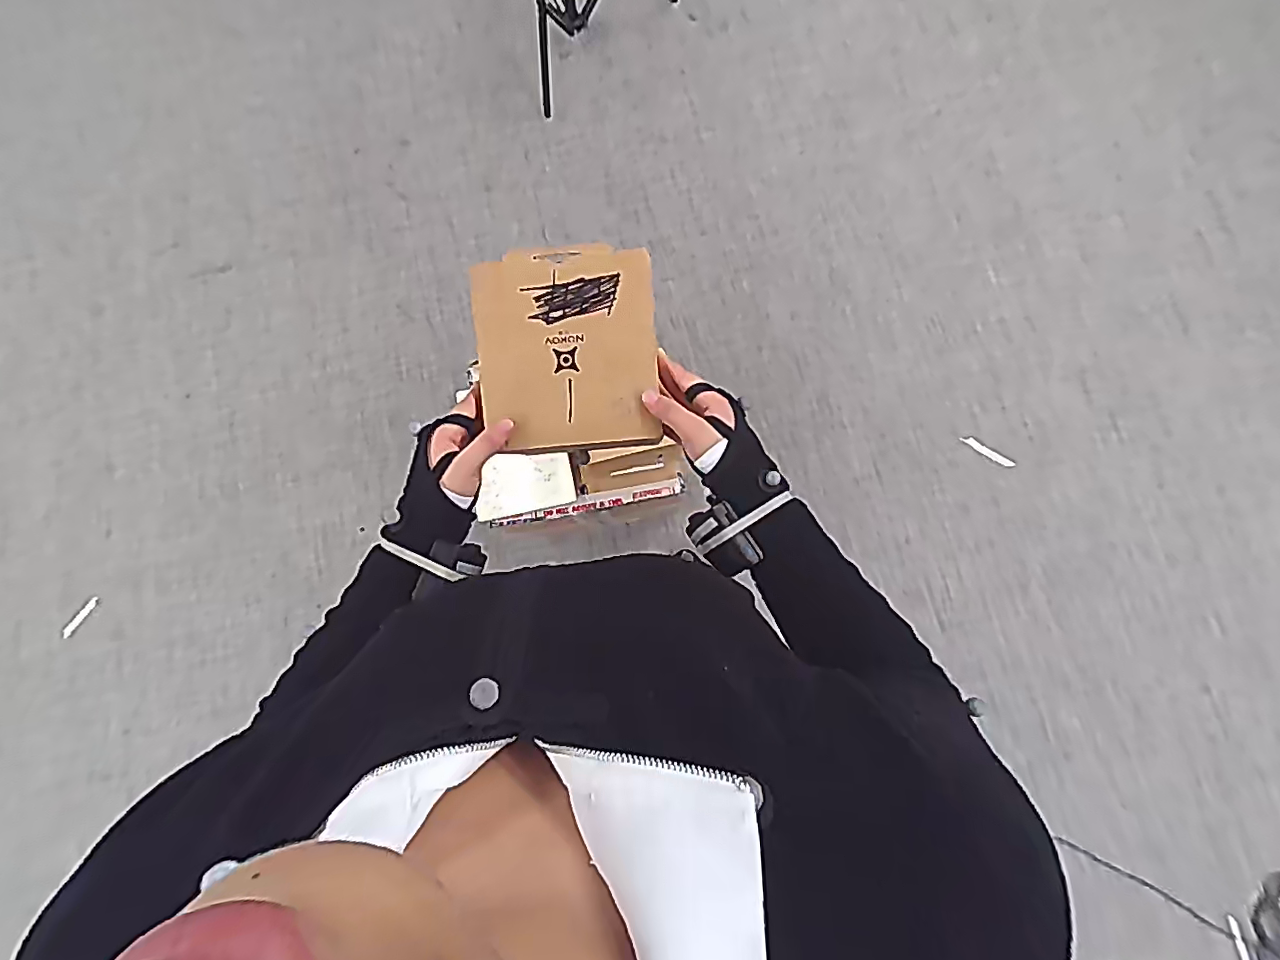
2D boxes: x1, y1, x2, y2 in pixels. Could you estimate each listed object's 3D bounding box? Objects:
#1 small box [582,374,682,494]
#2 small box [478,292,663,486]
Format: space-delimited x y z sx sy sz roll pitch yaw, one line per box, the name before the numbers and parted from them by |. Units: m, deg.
small box | -0.032 -0.078 0.995 0.179 0.176 0.168 -14 83 -2
small box | -0.066 -0.087 0.587 0.168 0.176 0.179 -5 92 0
